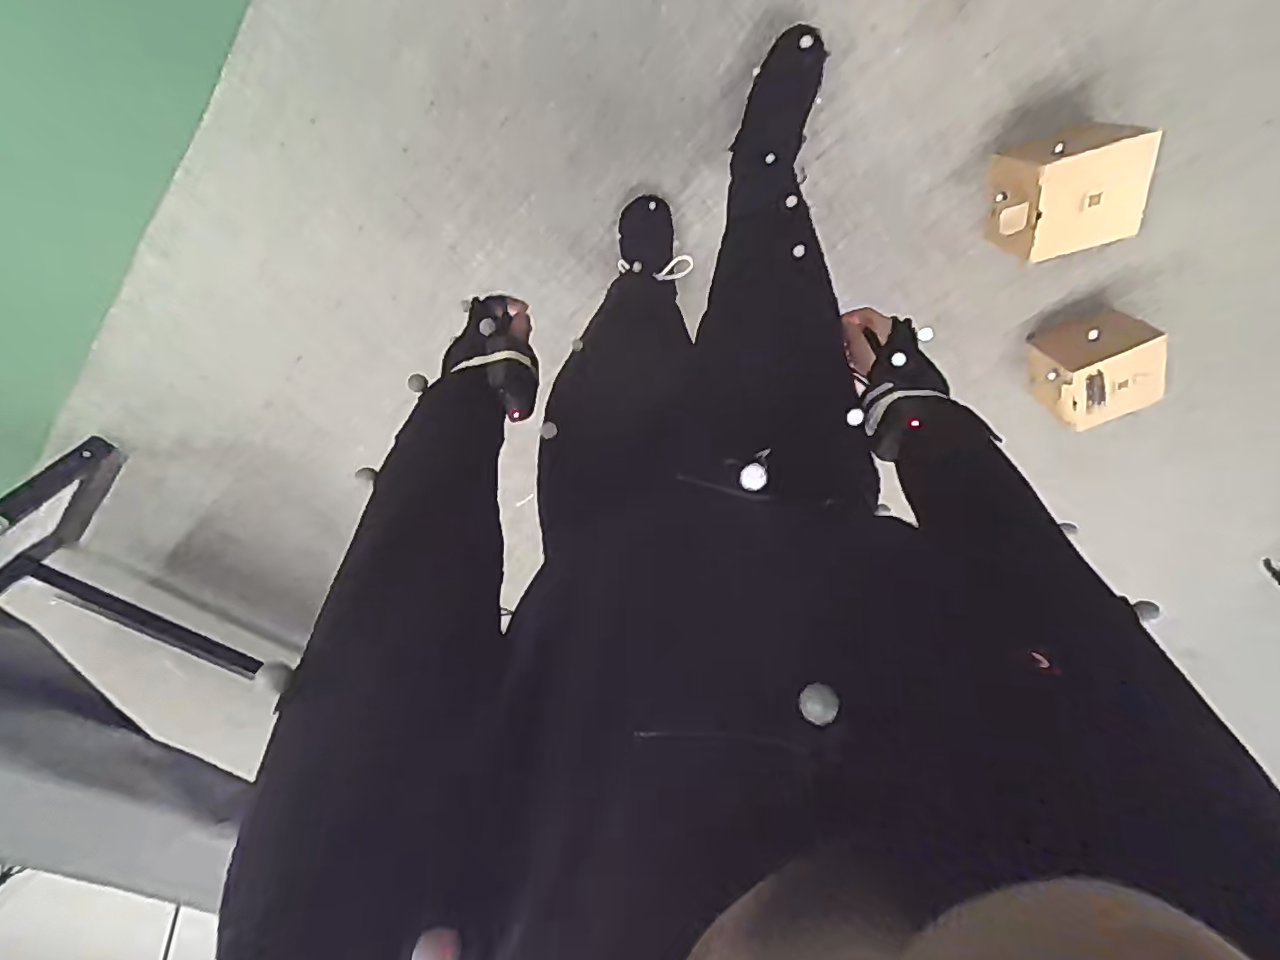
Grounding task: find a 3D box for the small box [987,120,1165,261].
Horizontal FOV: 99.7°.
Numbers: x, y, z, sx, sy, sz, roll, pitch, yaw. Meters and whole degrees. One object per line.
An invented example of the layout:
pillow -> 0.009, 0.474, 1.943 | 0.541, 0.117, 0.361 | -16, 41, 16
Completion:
small box -> 0.761, -0.521, 0.968 | 0.179, 0.176, 0.168 | -13, 127, 12
